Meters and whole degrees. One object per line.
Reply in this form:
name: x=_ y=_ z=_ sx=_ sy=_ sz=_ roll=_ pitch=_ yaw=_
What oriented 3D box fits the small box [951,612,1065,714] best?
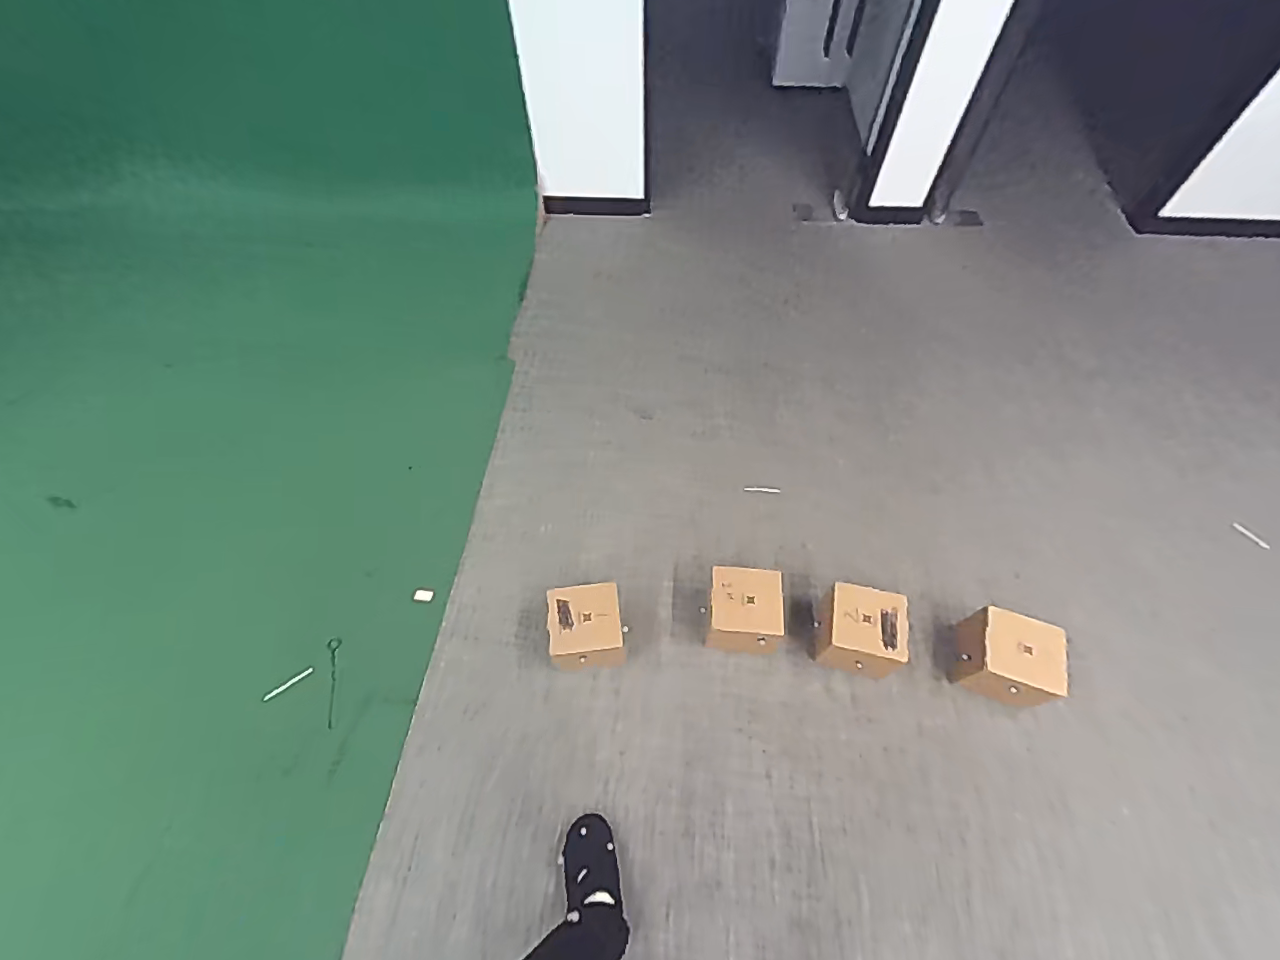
small box: x=0.886 y=0.450 z=1.317 sx=0.179 sy=0.176 sz=0.168 roll=18 pitch=60 yaw=11

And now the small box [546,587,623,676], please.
small box: x=-0.138 y=0.387 z=1.367 sx=0.179 sy=0.176 sz=0.168 roll=-6 pitch=58 yaw=-4

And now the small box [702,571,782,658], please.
small box: x=0.258 y=0.349 z=1.386 sx=0.179 sy=0.176 sz=0.168 roll=5 pitch=57 yaw=4
